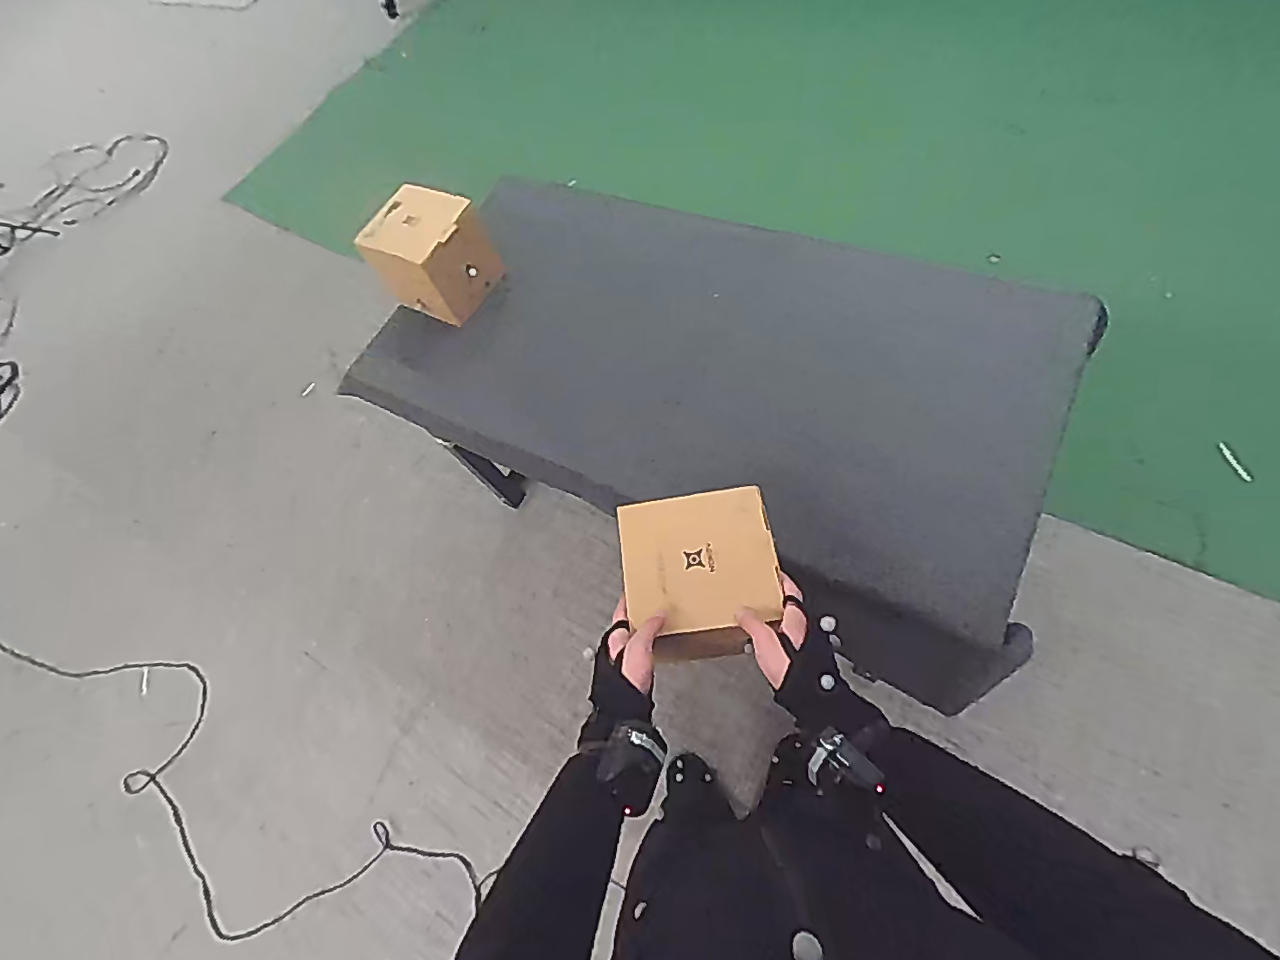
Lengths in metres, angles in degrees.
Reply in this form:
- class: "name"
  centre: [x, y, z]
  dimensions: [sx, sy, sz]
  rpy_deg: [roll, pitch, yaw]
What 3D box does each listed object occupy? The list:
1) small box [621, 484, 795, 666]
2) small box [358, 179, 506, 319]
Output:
- class: "small box"
  centre: [0.079, 0.125, 0.675]
  dimensions: [0.179, 0.176, 0.168]
  rpy_deg: [-10, 59, 4]
- class: "small box"
  centre: [-0.393, -0.444, 1.058]
  dimensions: [0.179, 0.176, 0.168]
  rpy_deg: [25, 70, 18]
